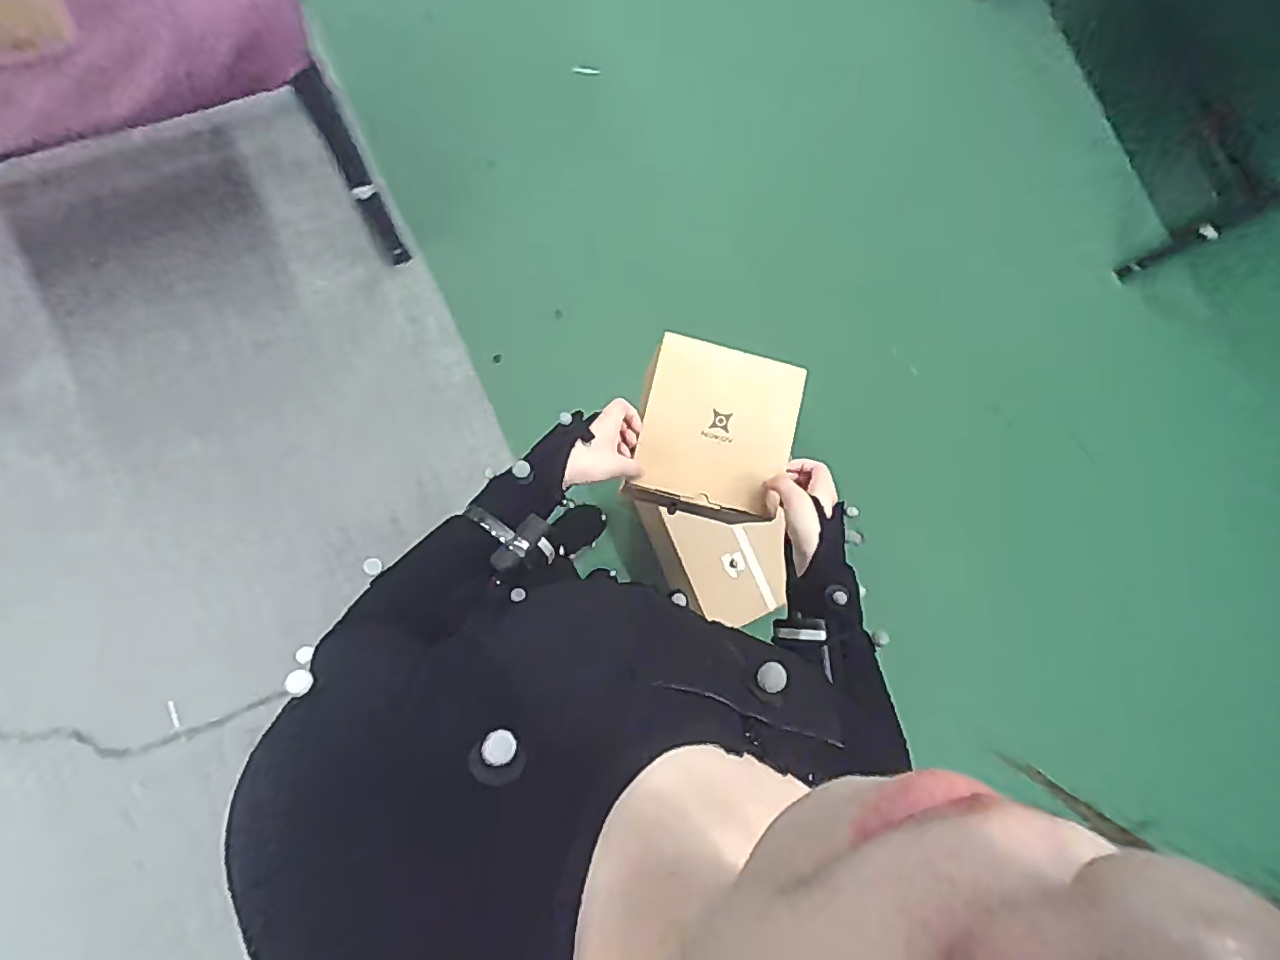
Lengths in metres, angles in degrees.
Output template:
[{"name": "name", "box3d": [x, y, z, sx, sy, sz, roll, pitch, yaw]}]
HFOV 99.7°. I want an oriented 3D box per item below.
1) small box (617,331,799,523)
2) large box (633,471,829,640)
[{"name": "small box", "box3d": [0.069, -0.050, 0.651, 0.168, 0.176, 0.179, 13, 84, -3]}, {"name": "large box", "box3d": [0.207, 0.141, 1.397, 0.320, 0.320, 0.408, -22, 88, -10]}]
